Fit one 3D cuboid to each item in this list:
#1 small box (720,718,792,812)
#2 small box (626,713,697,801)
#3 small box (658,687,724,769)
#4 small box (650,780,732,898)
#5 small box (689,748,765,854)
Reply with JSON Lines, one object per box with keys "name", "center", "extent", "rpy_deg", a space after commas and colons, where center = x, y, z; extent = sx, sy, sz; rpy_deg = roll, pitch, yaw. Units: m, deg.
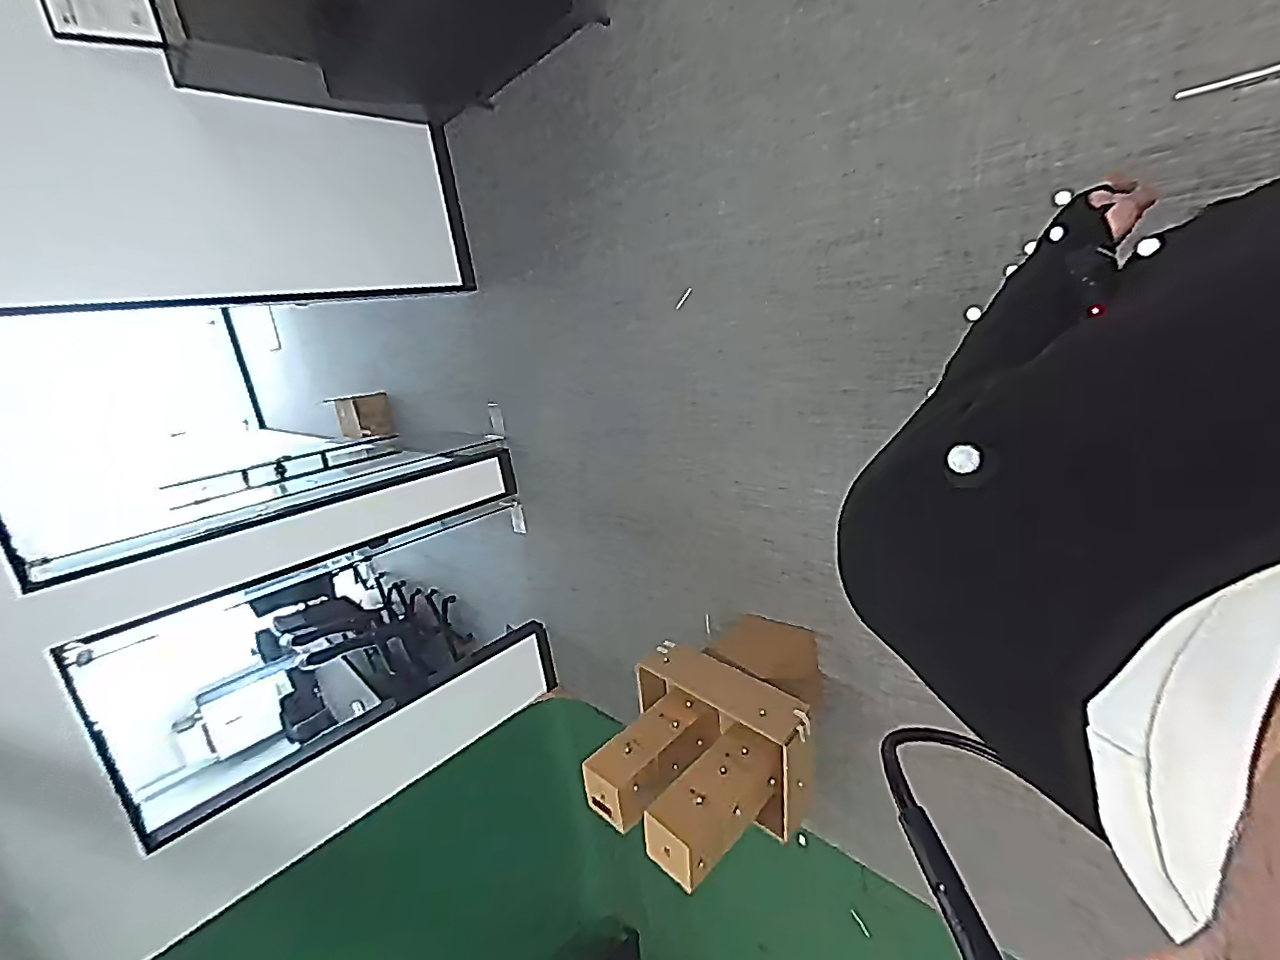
{"name": "small box", "center": [0.376, 0.914, 1.742], "extent": [0.168, 0.176, 0.179], "rpy_deg": [14, 117, 44]}
{"name": "small box", "center": [0.075, 0.924, 1.821], "extent": [0.168, 0.176, 0.179], "rpy_deg": [9, 114, 44]}
{"name": "small box", "center": [0.186, 0.876, 1.932], "extent": [0.168, 0.176, 0.179], "rpy_deg": [11, 115, 43]}
{"name": "small box", "center": [0.147, 1.003, 1.525], "extent": [0.168, 0.176, 0.179], "rpy_deg": [16, 117, 42]}
{"name": "small box", "center": [0.263, 0.957, 1.630], "extent": [0.168, 0.176, 0.179], "rpy_deg": [16, 117, 44]}
